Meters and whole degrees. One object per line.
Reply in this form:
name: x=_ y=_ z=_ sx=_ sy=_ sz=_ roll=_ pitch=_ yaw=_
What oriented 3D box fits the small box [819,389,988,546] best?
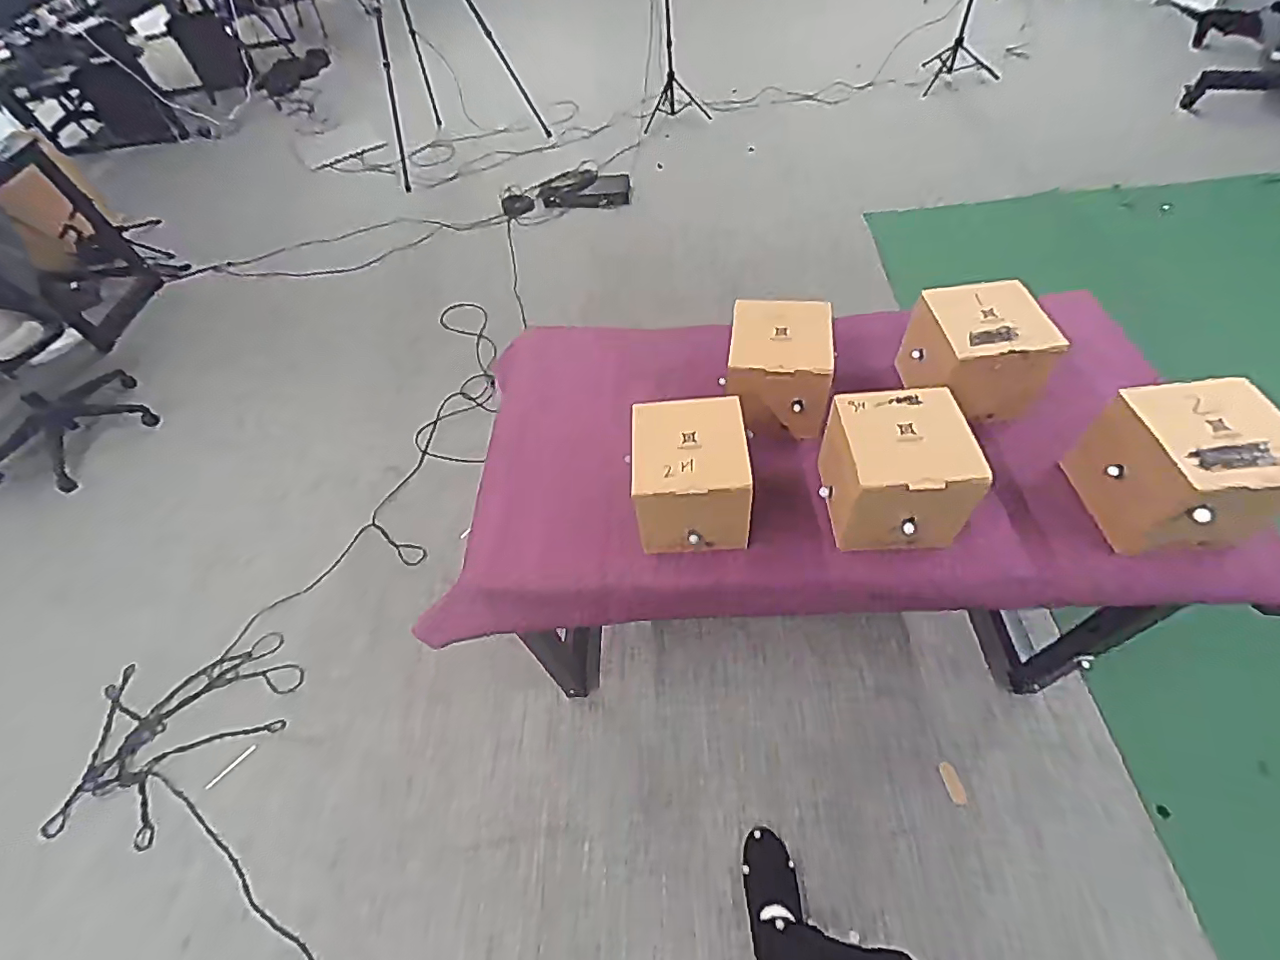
small box: x=0.373 y=-0.011 z=0.805 sx=0.168 sy=0.176 sz=0.179 roll=-2 pitch=52 yaw=5

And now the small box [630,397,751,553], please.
small box: x=0.077 y=-0.005 z=0.840 sx=0.168 sy=0.176 sz=0.179 roll=-4 pitch=53 yaw=5

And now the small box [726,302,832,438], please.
small box: x=0.242 y=-0.193 z=0.961 sx=0.168 sy=0.176 sz=0.179 roll=5 pitch=54 yaw=10

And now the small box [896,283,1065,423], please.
small box: x=0.566 y=-0.208 z=0.929 sx=0.168 sy=0.176 sz=0.179 roll=-5 pitch=52 yaw=4
